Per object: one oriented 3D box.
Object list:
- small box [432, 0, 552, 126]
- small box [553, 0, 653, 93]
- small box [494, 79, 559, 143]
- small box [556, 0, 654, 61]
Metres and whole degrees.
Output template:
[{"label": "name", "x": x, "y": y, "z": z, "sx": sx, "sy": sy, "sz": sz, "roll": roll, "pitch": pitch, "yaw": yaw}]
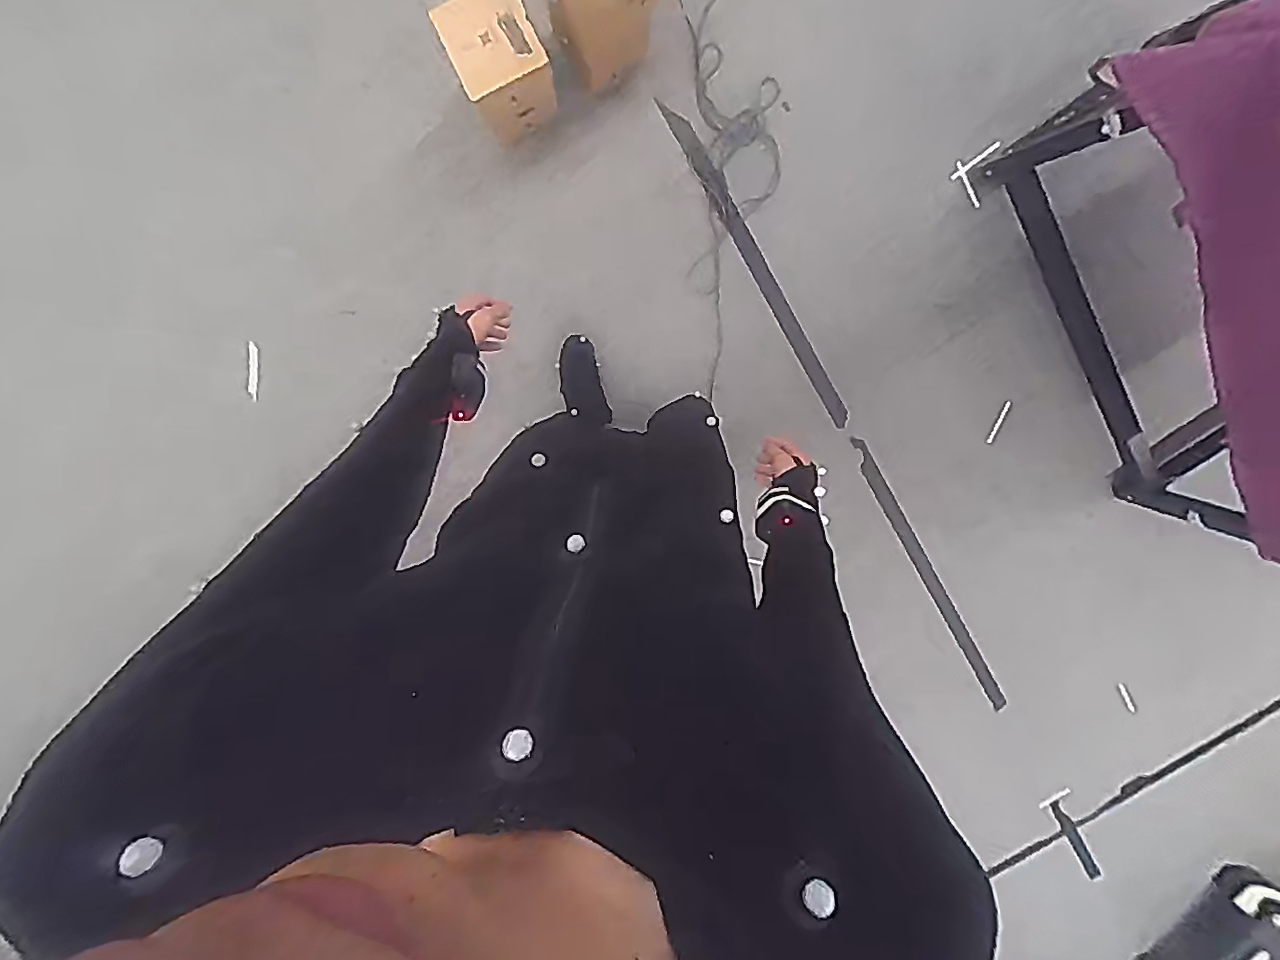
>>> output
[{"label": "small box", "x": -0.291, "y": -0.876, "z": 1.115, "sx": 0.179, "sy": 0.176, "sz": 0.168, "roll": -25, "pitch": 106, "yaw": 4}, {"label": "small box", "x": -0.091, "y": -1.056, "z": 1.253, "sx": 0.168, "sy": 0.176, "sz": 0.179, "roll": -33, "pitch": 106, "yaw": 6}, {"label": "small box", "x": -0.306, "y": -0.937, "z": 1.267, "sx": 0.168, "sy": 0.176, "sz": 0.179, "roll": -29, "pitch": 107, "yaw": 5}, {"label": "small box", "x": -0.078, "y": -1.010, "z": 1.098, "sx": 0.179, "sy": 0.176, "sz": 0.168, "roll": -32, "pitch": 106, "yaw": 5}]
